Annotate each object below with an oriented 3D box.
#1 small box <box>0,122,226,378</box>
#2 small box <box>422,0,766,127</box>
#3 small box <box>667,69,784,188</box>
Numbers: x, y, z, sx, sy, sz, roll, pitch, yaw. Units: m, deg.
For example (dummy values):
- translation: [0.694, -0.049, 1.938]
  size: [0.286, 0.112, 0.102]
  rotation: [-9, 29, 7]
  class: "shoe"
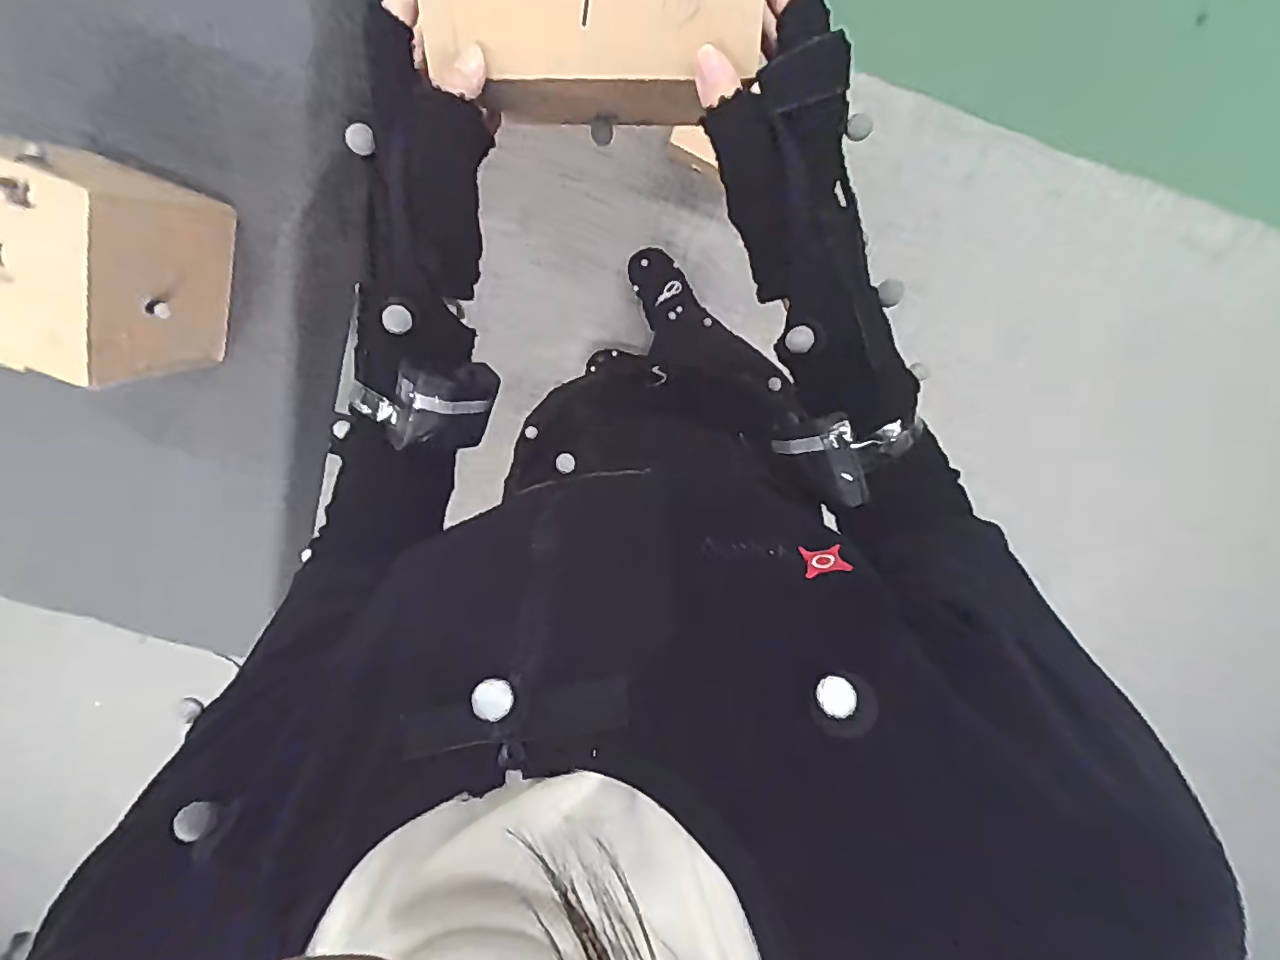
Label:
- translation: [-0.548, -0.225, 0.527]
  size: [0.168, 0.176, 0.179]
  rotation: [20, 111, -6]
  class: "small box"
- translation: [-0.017, -0.315, 0.301]
  size: [0.168, 0.176, 0.179]
  rotation: [3, 118, 1]
  class: "small box"
- translation: [0.162, -0.721, 1.093]
  size: [0.168, 0.176, 0.179]
  rotation: [25, 112, -7]
  class: "small box"
